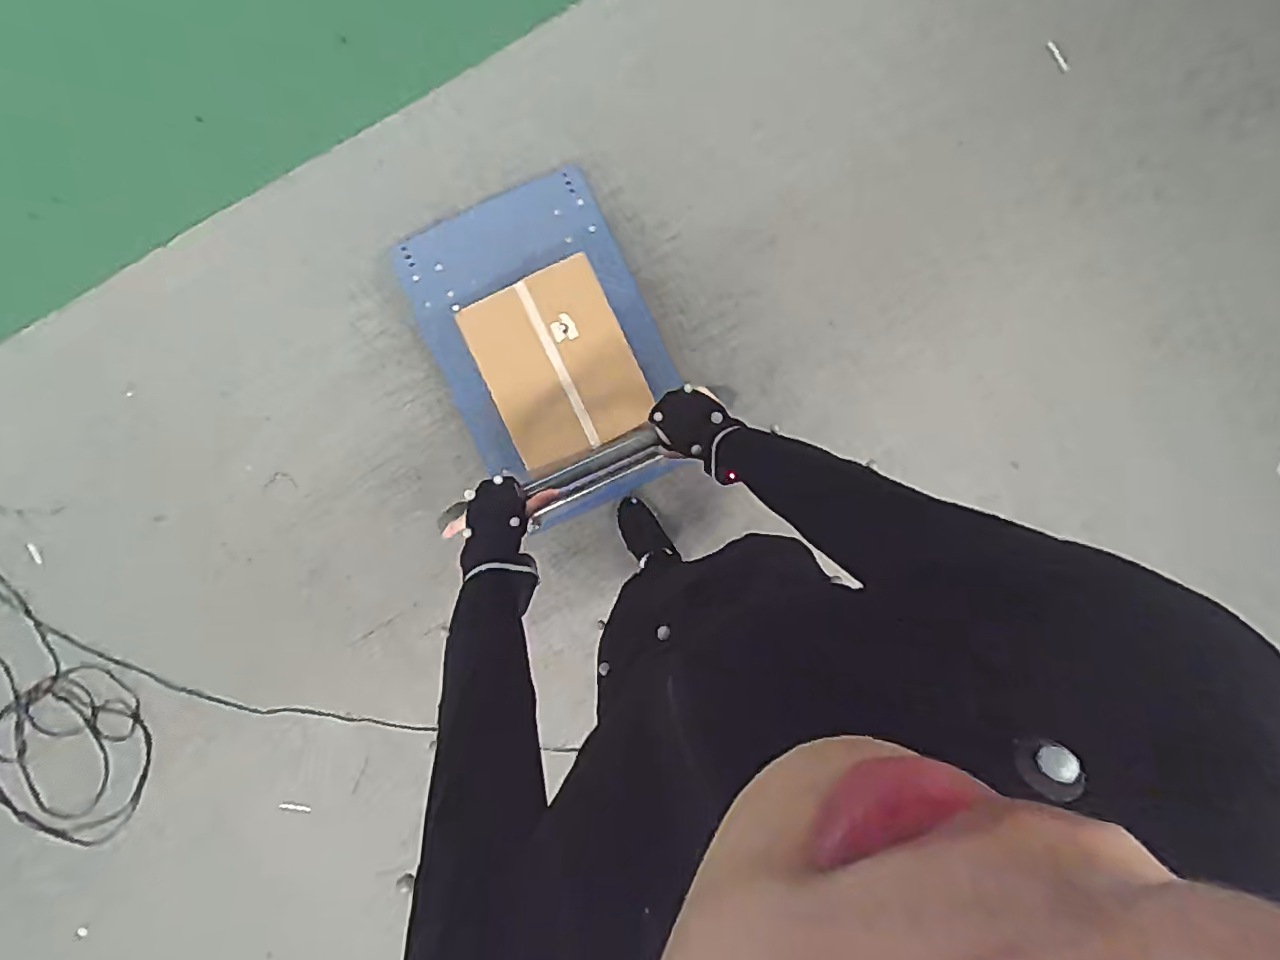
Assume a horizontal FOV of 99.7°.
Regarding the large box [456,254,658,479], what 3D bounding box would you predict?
[{"bbox_3d":[-0.176,-0.247,1.317,0.320,0.320,0.408,-25,88,-1],"label":"large box"}]
